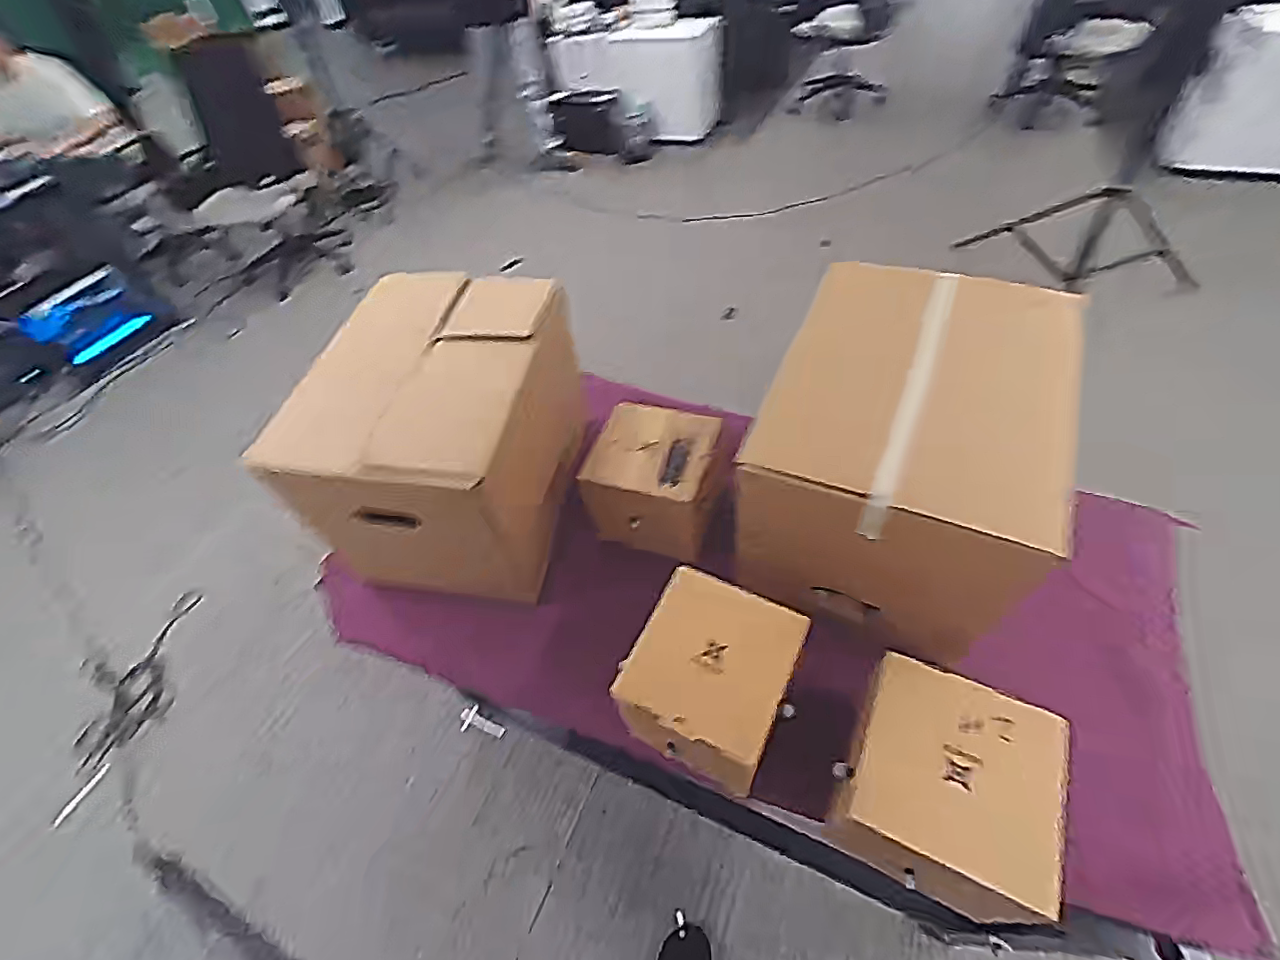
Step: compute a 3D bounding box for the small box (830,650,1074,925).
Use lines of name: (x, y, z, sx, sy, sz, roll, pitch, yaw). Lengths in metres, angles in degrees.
small box: (0.308, 0.316, 0.560, 0.168, 0.176, 0.179, 20, 55, 21)
